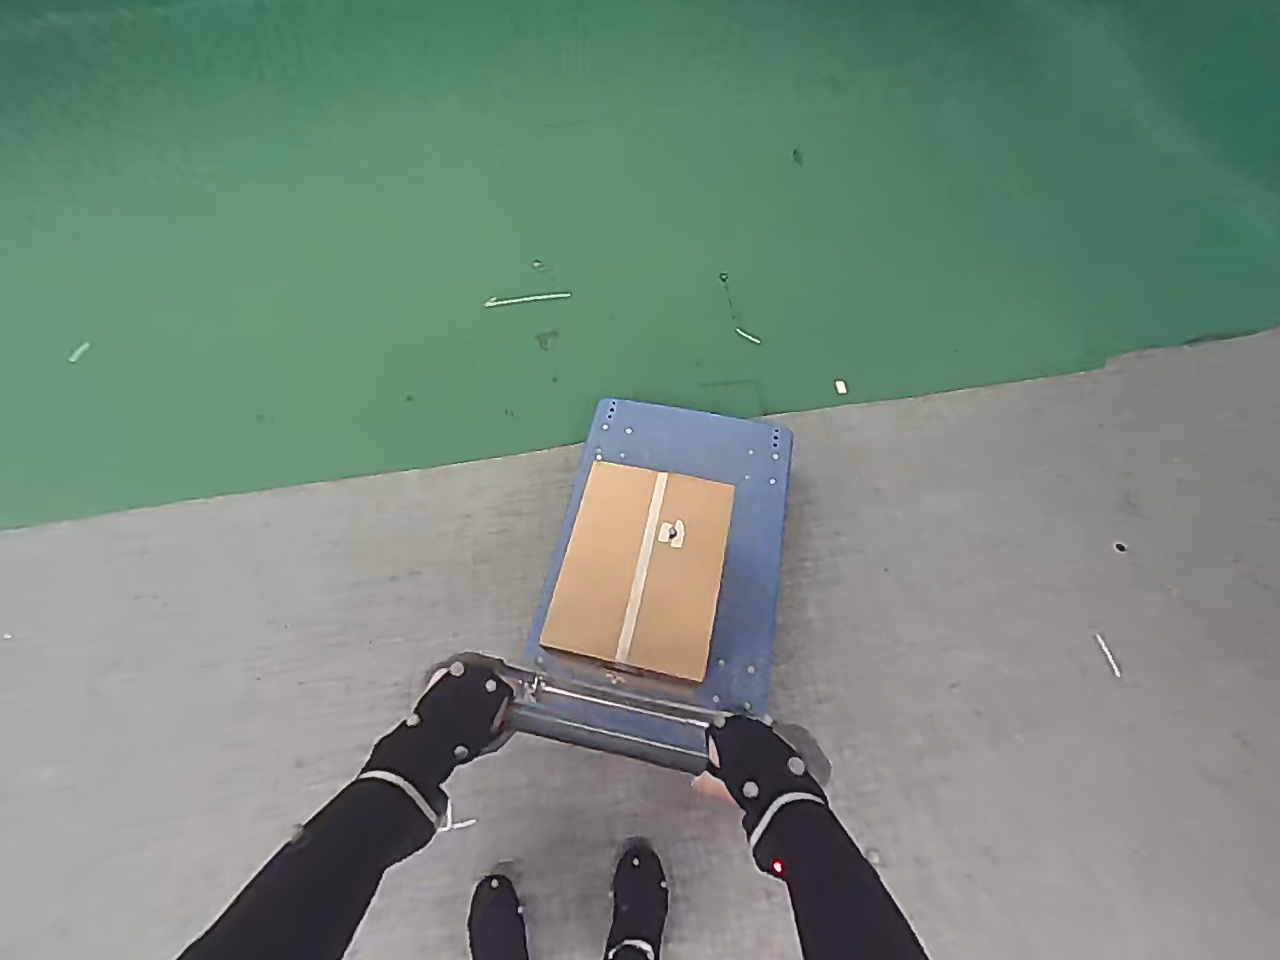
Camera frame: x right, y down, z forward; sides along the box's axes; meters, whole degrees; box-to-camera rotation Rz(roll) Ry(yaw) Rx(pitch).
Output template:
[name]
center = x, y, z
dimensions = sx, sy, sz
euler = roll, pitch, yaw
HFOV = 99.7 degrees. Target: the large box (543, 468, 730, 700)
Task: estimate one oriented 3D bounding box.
[large box]
center = 0.007, 0.241, 1.211
dimensions = 0.320, 0.320, 0.408
euler = 11, 63, 6
